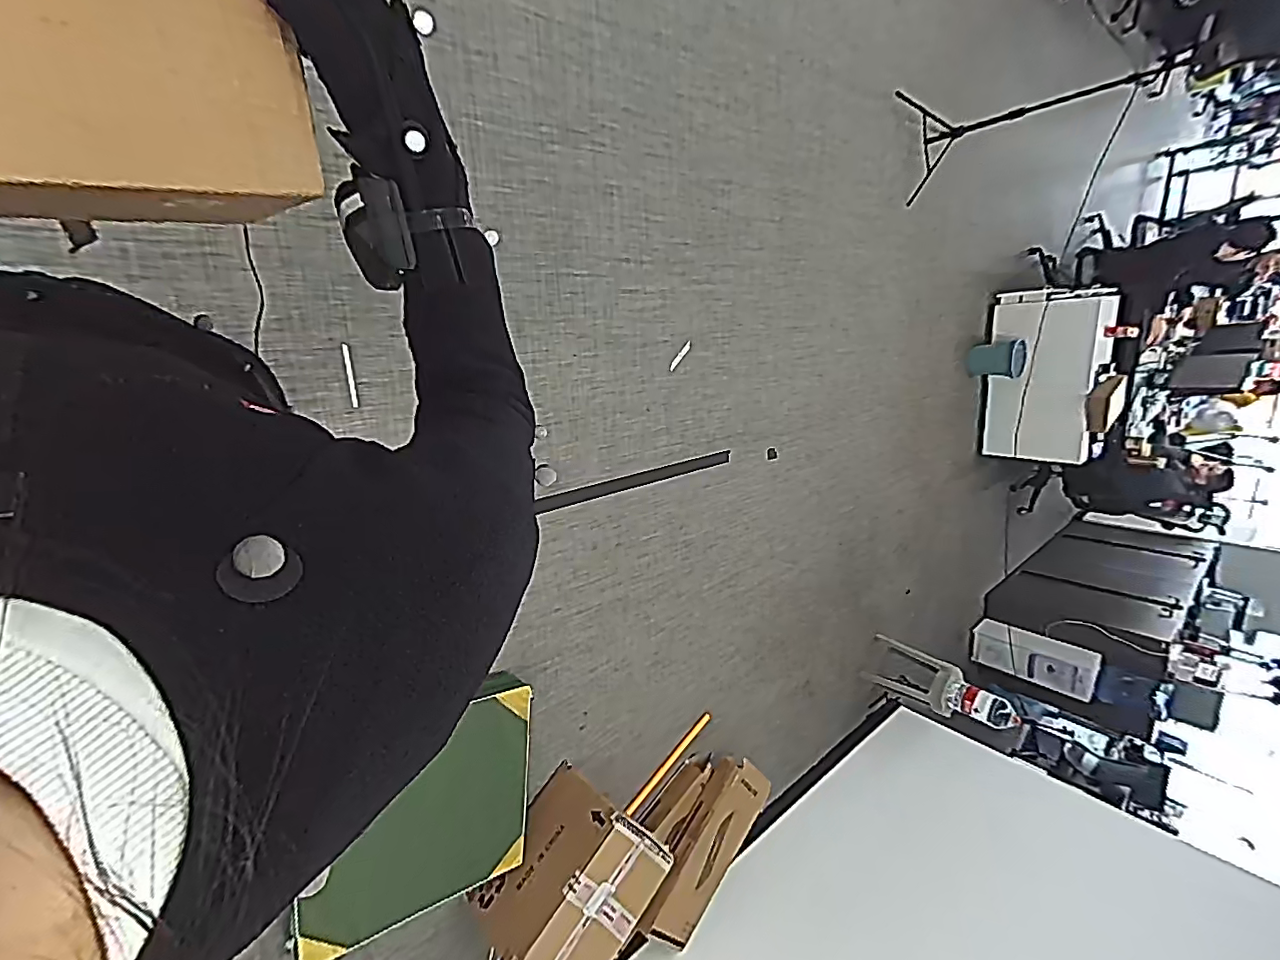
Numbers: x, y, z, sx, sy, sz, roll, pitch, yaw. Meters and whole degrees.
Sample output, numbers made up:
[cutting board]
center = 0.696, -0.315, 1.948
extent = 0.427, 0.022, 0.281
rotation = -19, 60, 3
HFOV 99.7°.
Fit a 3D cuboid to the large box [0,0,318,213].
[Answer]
[large box]
center = -0.473, -0.330, 0.298
extent = 0.408, 0.320, 0.320
rotation = -20, 120, -38
